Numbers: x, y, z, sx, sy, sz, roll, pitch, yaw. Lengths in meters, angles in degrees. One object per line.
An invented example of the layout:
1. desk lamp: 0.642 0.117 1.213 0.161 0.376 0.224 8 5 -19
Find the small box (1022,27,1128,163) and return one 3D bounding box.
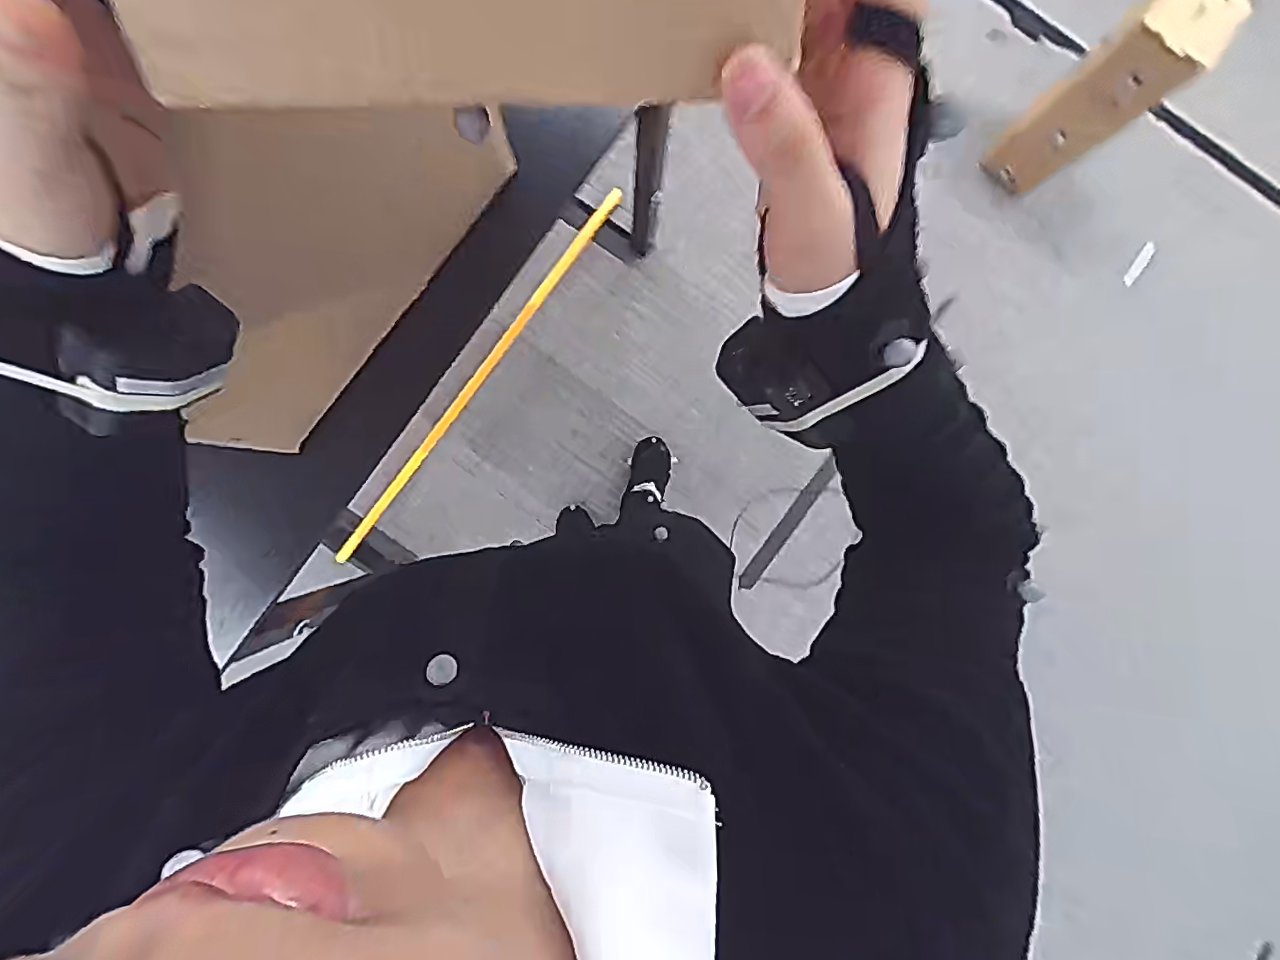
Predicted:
1. small box: 1.105 -0.942 1.338 0.168 0.176 0.179 36 87 0

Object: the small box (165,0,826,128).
1. small box: -0.041 -0.219 0.172 0.179 0.176 0.168 -3 129 -5

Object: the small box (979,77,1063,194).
1. small box: 1.097 -0.949 1.503 0.168 0.176 0.179 36 89 0

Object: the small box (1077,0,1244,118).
1. small box: 1.109 -0.945 1.174 0.168 0.176 0.179 37 88 -1
